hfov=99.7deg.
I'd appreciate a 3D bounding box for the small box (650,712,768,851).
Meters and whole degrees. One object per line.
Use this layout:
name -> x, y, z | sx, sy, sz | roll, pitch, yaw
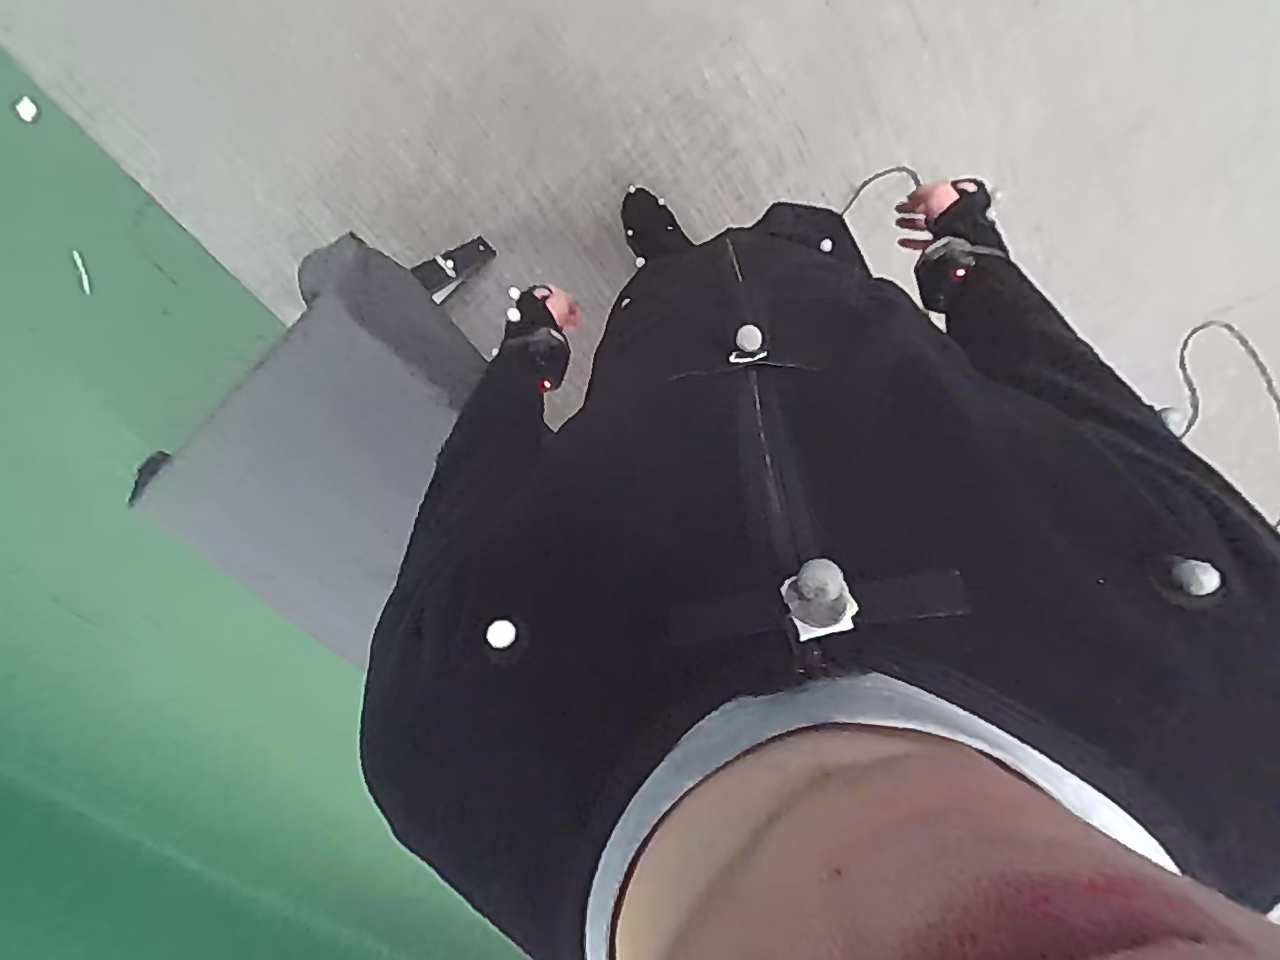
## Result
small box -> 0.140, 0.617, 1.112 | 0.179, 0.176, 0.168 | -33, 113, 20
